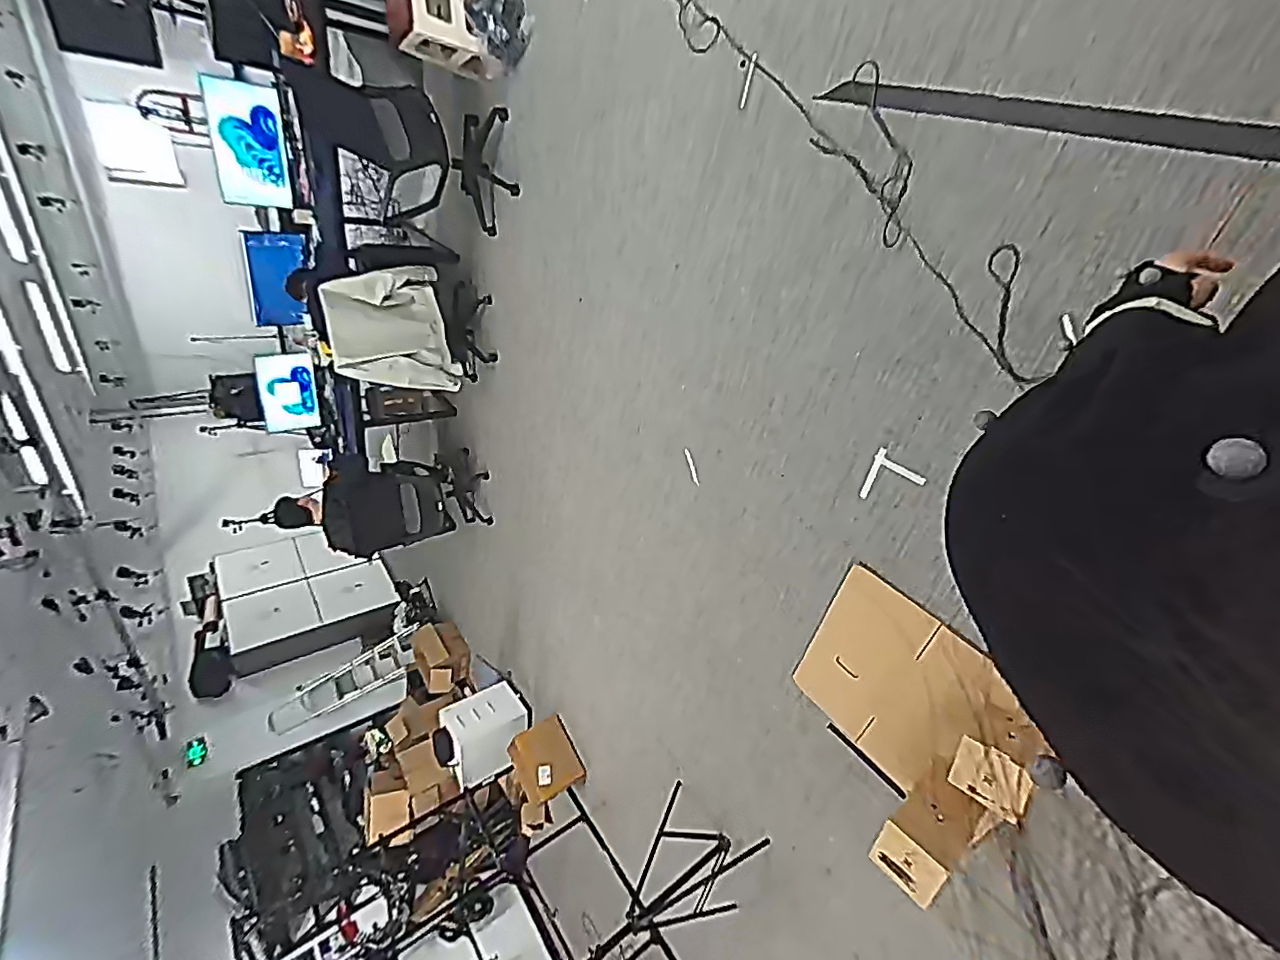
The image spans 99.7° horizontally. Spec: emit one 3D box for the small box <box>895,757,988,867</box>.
[{"bbox_3d":[0.881,0.955,1.568,0.168,0.176,0.179,31,125,42],"label":"small box"}]

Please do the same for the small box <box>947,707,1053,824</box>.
[{"bbox_3d":[0.941,0.732,1.408,0.168,0.176,0.179,27,122,45],"label":"small box"}]
